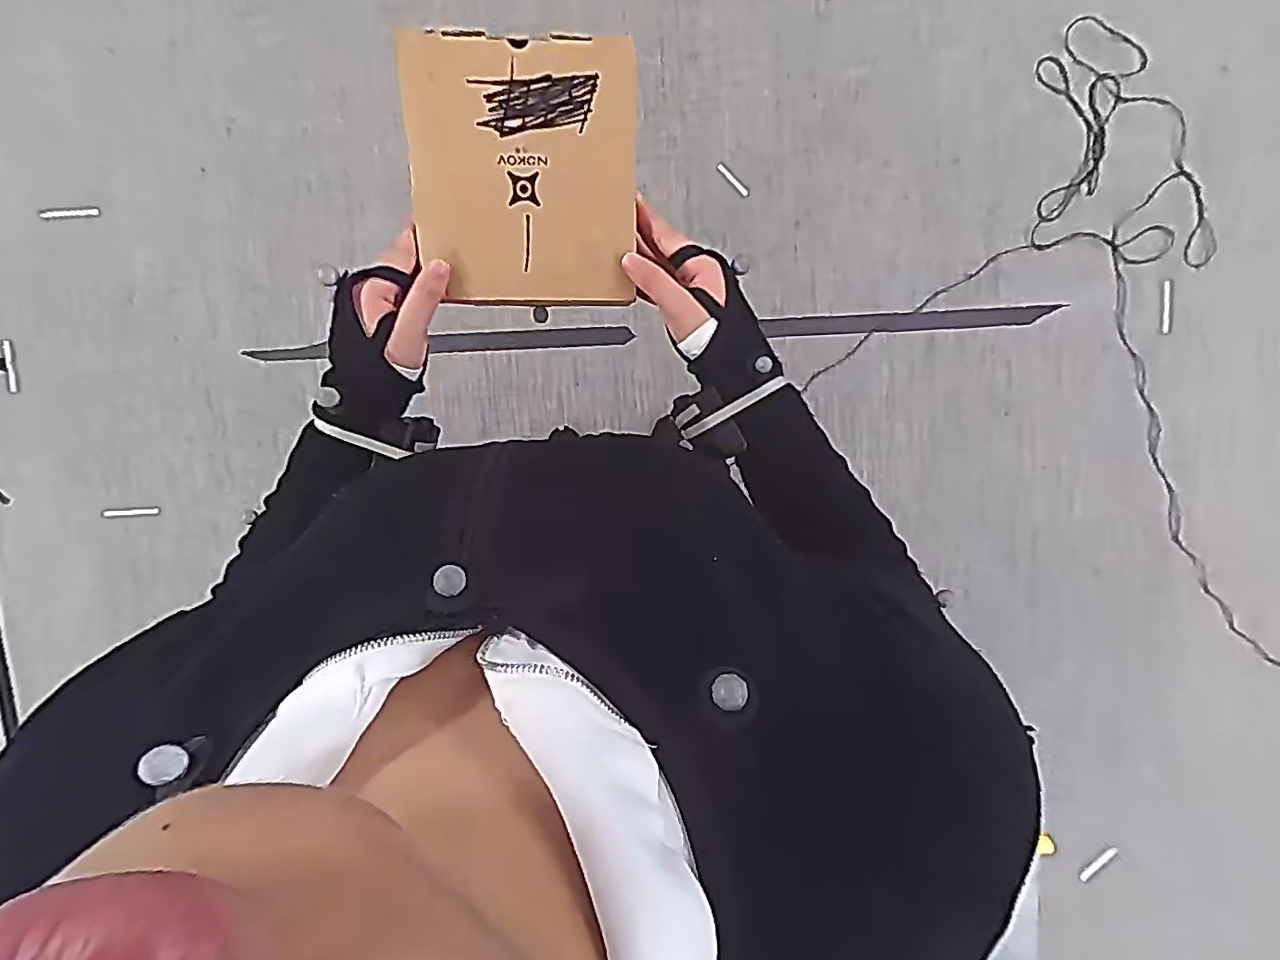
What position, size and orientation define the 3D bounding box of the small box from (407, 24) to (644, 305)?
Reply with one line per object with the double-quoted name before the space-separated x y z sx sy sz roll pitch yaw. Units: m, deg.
"small box" -0.086 -0.249 0.473 0.168 0.176 0.179 0 107 -3
